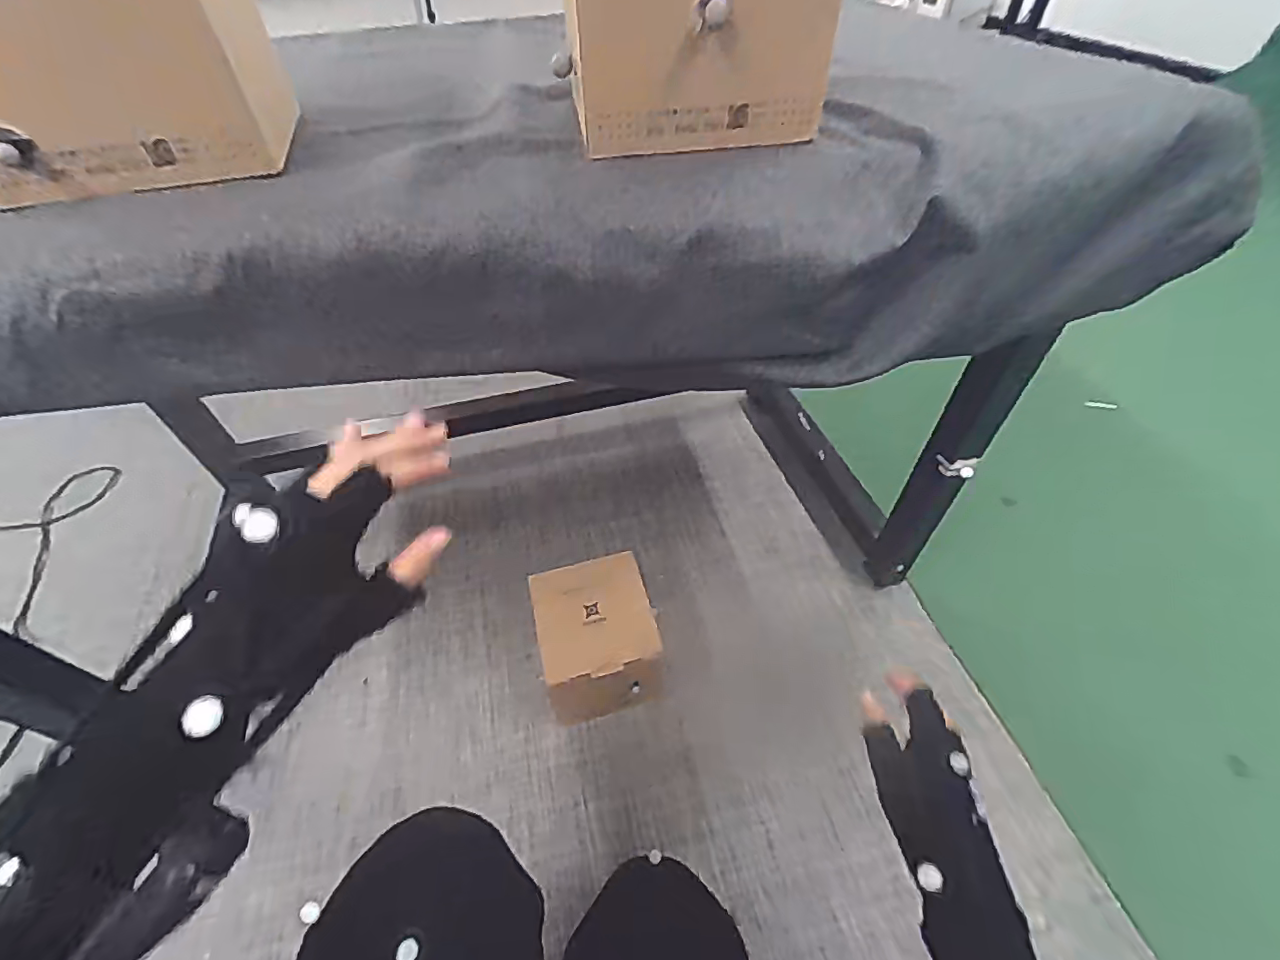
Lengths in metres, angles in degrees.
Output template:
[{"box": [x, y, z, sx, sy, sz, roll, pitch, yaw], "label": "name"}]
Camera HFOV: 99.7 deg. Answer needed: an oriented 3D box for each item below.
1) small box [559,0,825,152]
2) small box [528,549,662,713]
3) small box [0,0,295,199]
[{"box": [0.026, -0.346, 0.376, 0.168, 0.176, 0.179, -7, 50, -4], "label": "small box"}, {"box": [-0.066, 0.239, 0.838, 0.168, 0.176, 0.179, -13, 48, -10], "label": "small box"}, {"box": [-0.351, -0.296, 0.345, 0.168, 0.176, 0.179, -15, 48, -12], "label": "small box"}]
